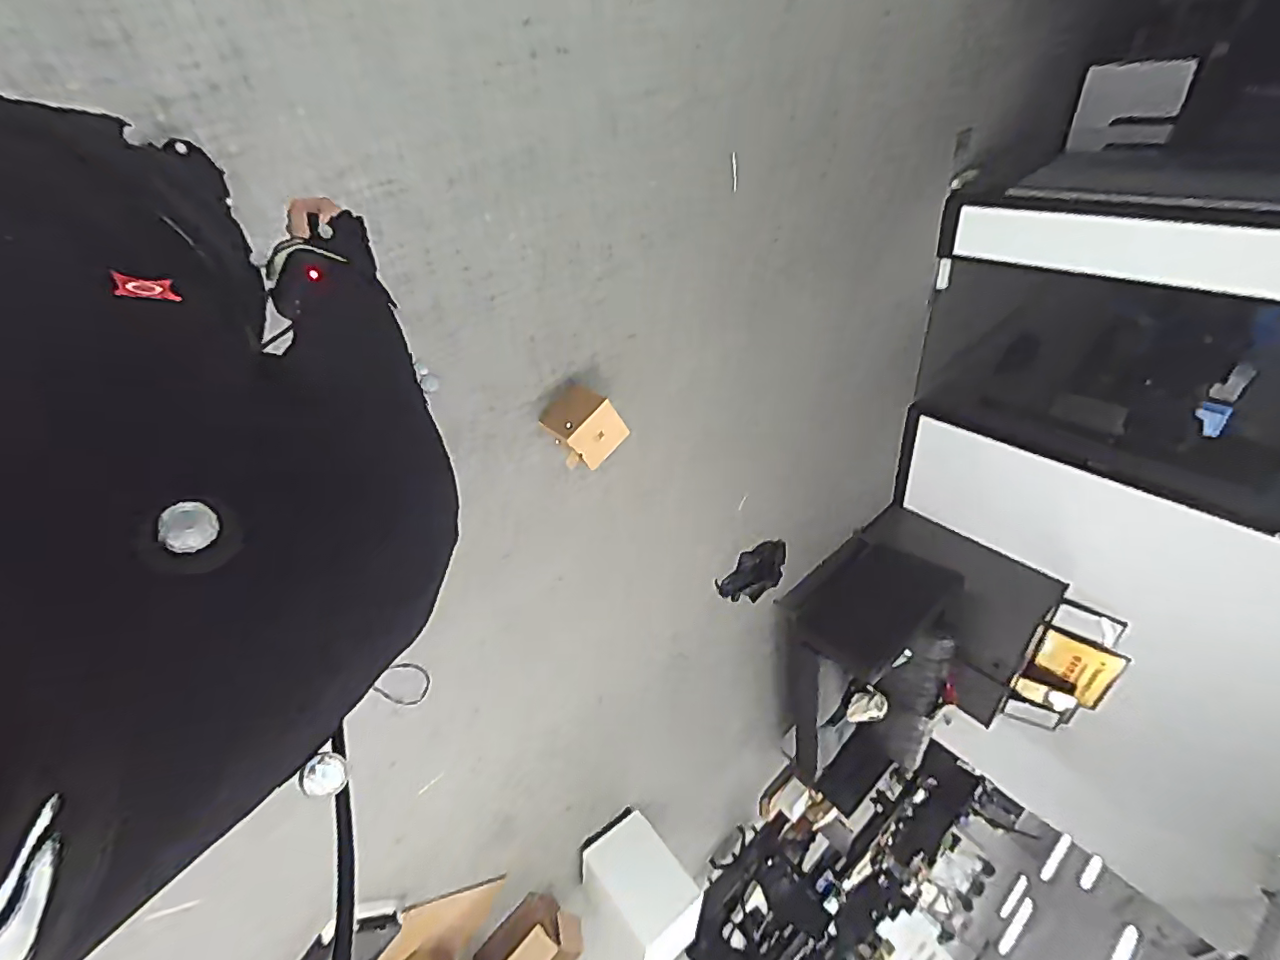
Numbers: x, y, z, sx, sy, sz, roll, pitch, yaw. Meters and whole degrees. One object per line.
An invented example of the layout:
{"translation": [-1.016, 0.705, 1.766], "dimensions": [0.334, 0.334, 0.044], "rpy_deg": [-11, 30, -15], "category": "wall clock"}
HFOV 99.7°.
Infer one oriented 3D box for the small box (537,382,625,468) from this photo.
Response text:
{"translation": [-0.186, -0.177, 1.684], "dimensions": [0.179, 0.176, 0.168], "rpy_deg": [-47, 139, -9], "category": "small box"}
